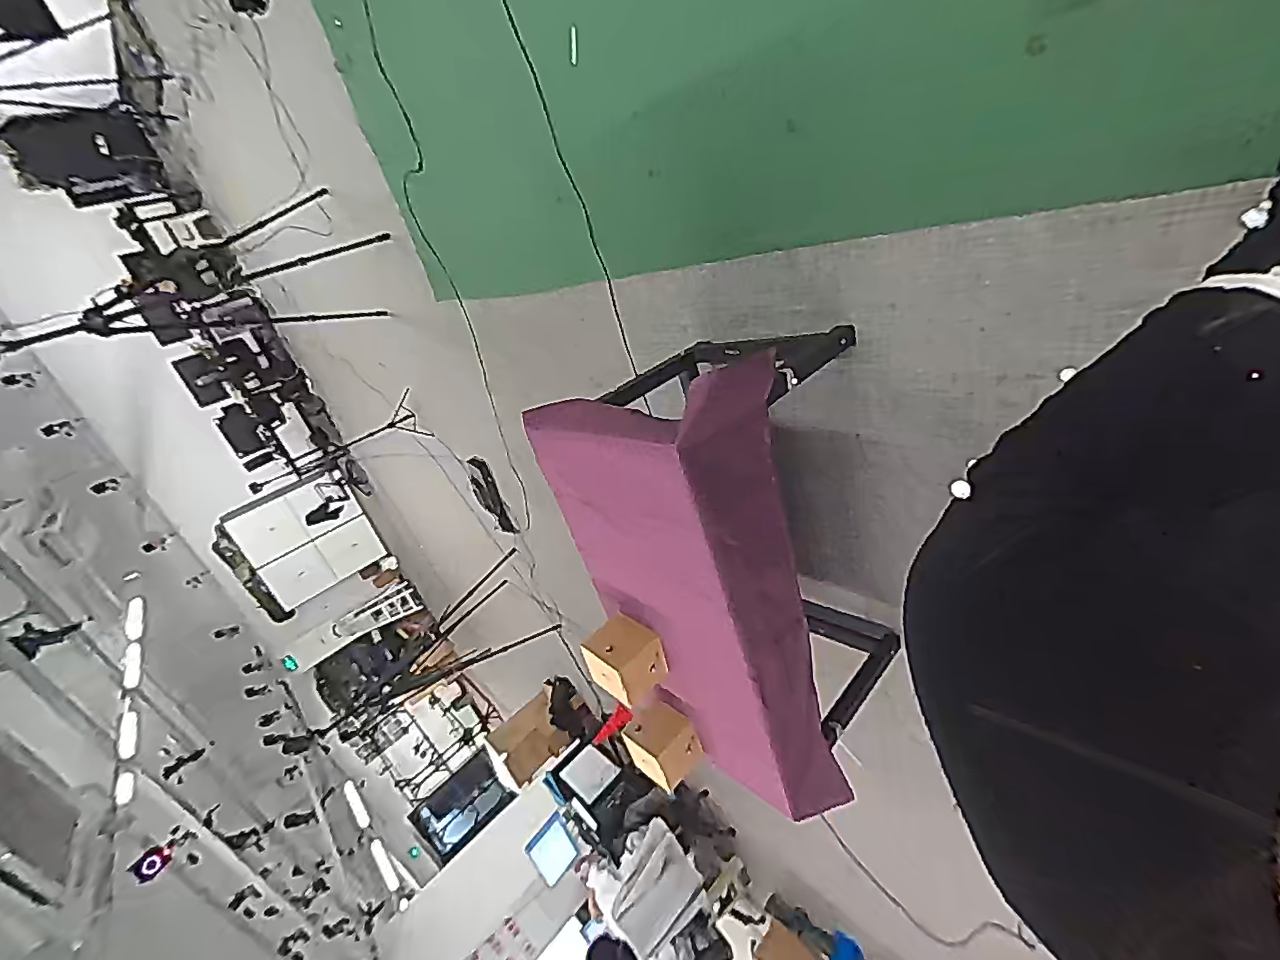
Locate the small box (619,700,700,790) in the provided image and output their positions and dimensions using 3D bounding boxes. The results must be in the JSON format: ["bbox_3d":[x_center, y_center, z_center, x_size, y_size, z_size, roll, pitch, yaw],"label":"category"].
[{"bbox_3d":[0.065,0.851,1.758,0.179,0.176,0.168,11,128,48],"label":"small box"}]

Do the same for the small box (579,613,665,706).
[{"bbox_3d":[-0.051,0.528,1.625,0.179,0.176,0.168,18,133,43],"label":"small box"}]
